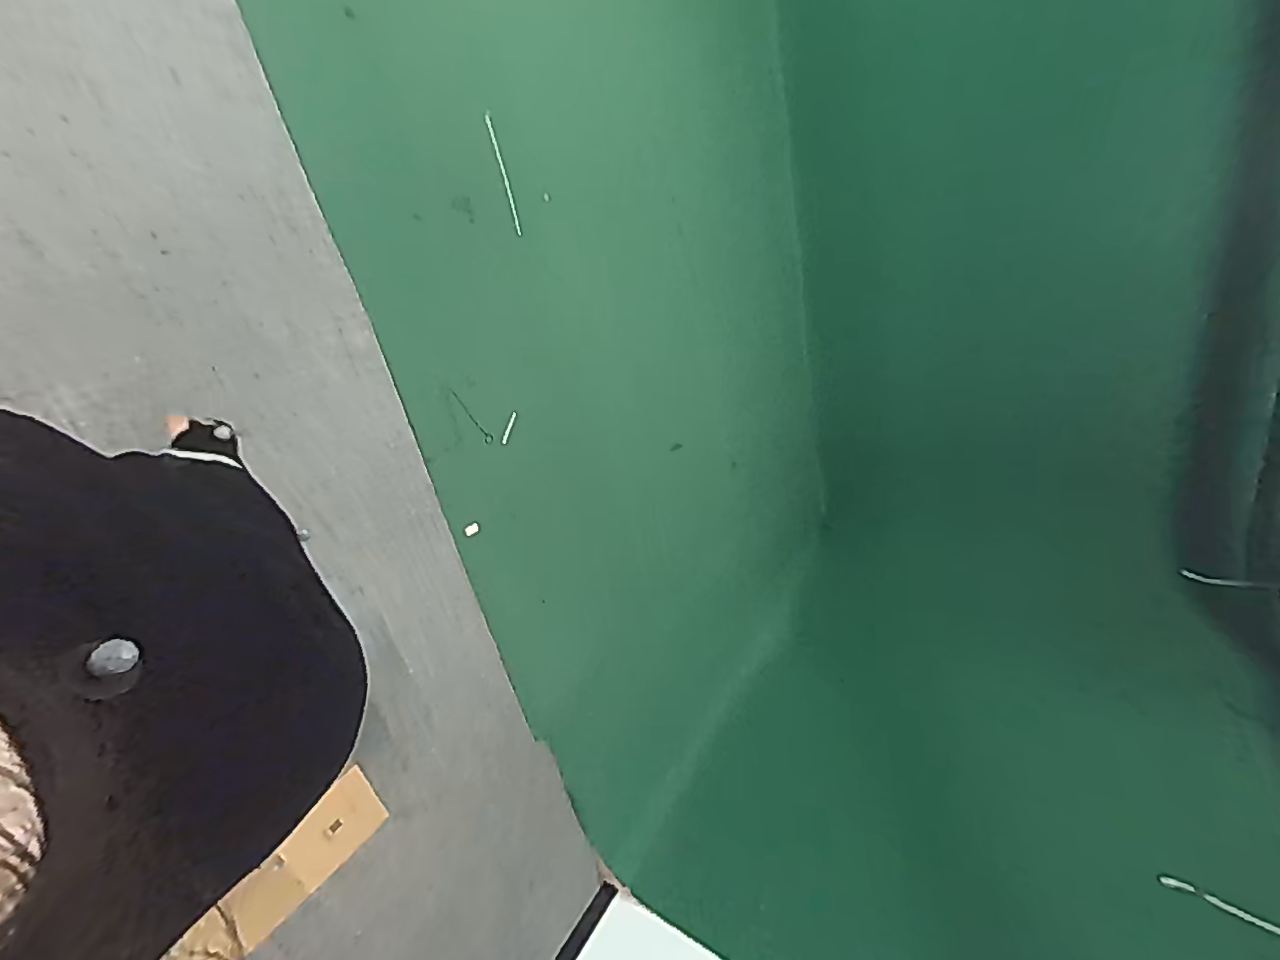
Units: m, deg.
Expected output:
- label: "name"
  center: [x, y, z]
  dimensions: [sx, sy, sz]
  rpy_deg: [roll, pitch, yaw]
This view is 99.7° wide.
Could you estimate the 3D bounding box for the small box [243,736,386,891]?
- label: "small box"
  center: [-0.666, 0.665, 1.099]
  dimensions: [0.179, 0.176, 0.168]
  rpy_deg: [-39, 126, -44]
